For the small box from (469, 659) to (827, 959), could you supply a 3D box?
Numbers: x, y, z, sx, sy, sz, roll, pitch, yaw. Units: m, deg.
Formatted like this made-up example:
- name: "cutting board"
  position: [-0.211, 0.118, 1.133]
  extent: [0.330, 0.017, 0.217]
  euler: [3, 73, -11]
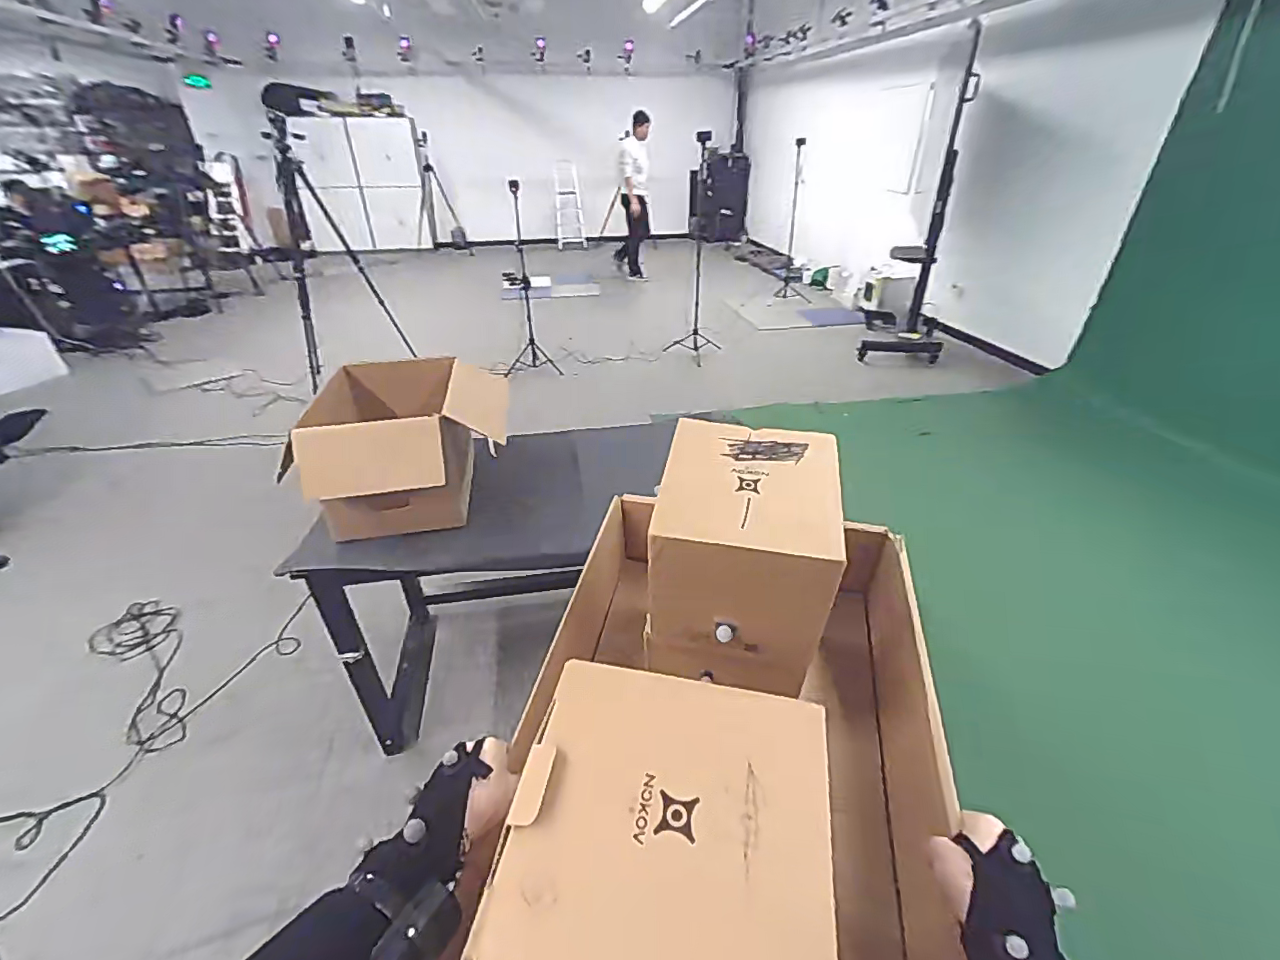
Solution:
- name: "small box"
  position: [0.017, 0.248, 0.362]
  extent: [0.179, 0.176, 0.168]
  euler: [6, 42, 9]

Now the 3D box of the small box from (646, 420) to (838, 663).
- name: "small box"
  position: [0.103, 0.061, 0.569]
  extent: [0.168, 0.176, 0.179]
  euler: [7, 44, 10]
